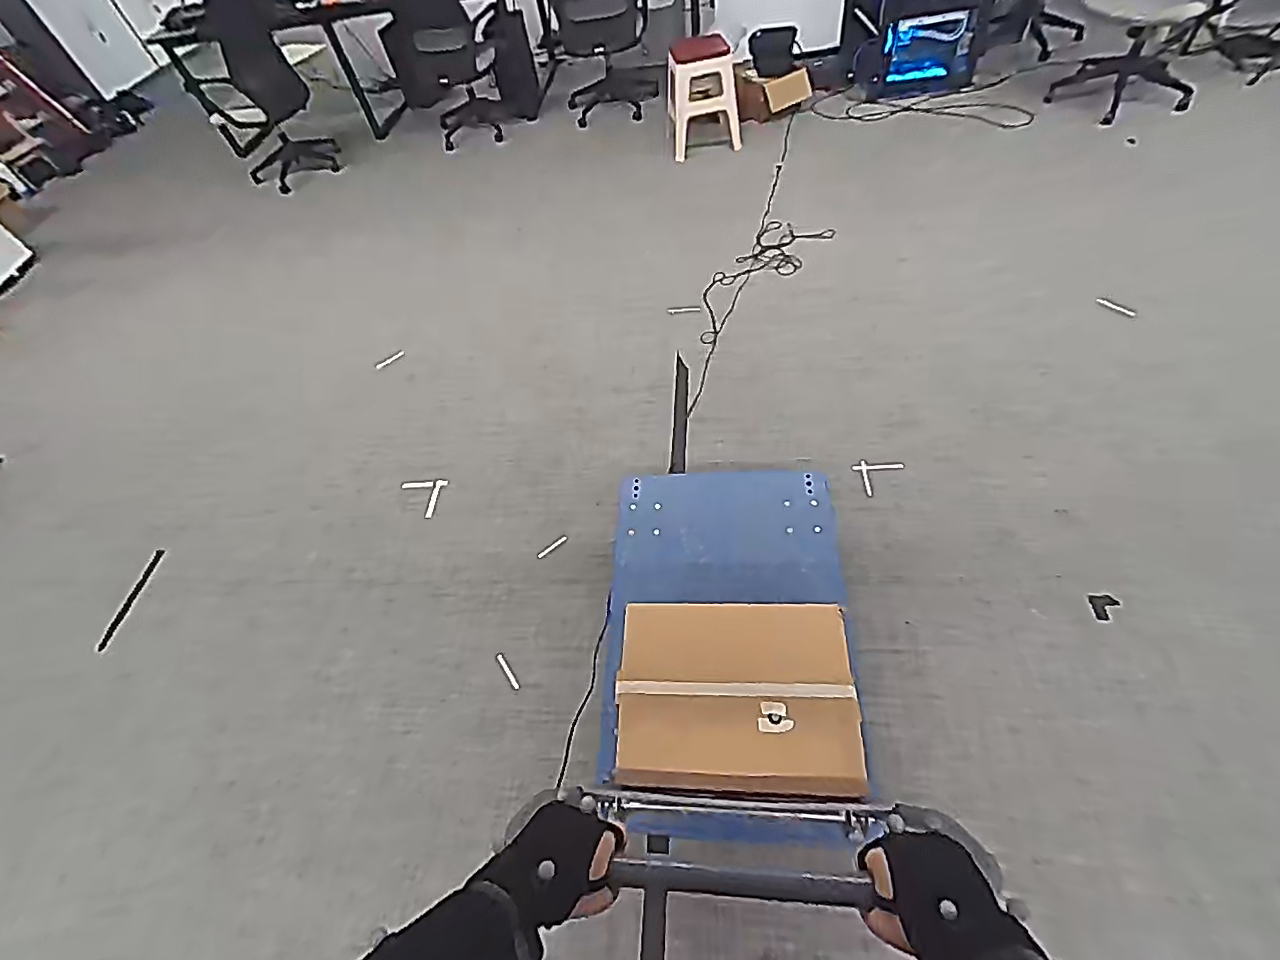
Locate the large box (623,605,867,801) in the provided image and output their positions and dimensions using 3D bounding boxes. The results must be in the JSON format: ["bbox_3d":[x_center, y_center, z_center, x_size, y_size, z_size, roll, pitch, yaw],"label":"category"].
[{"bbox_3d":[0.187,0.454,1.084,0.408,0.320,0.320,-2,58,7],"label":"large box"}]
